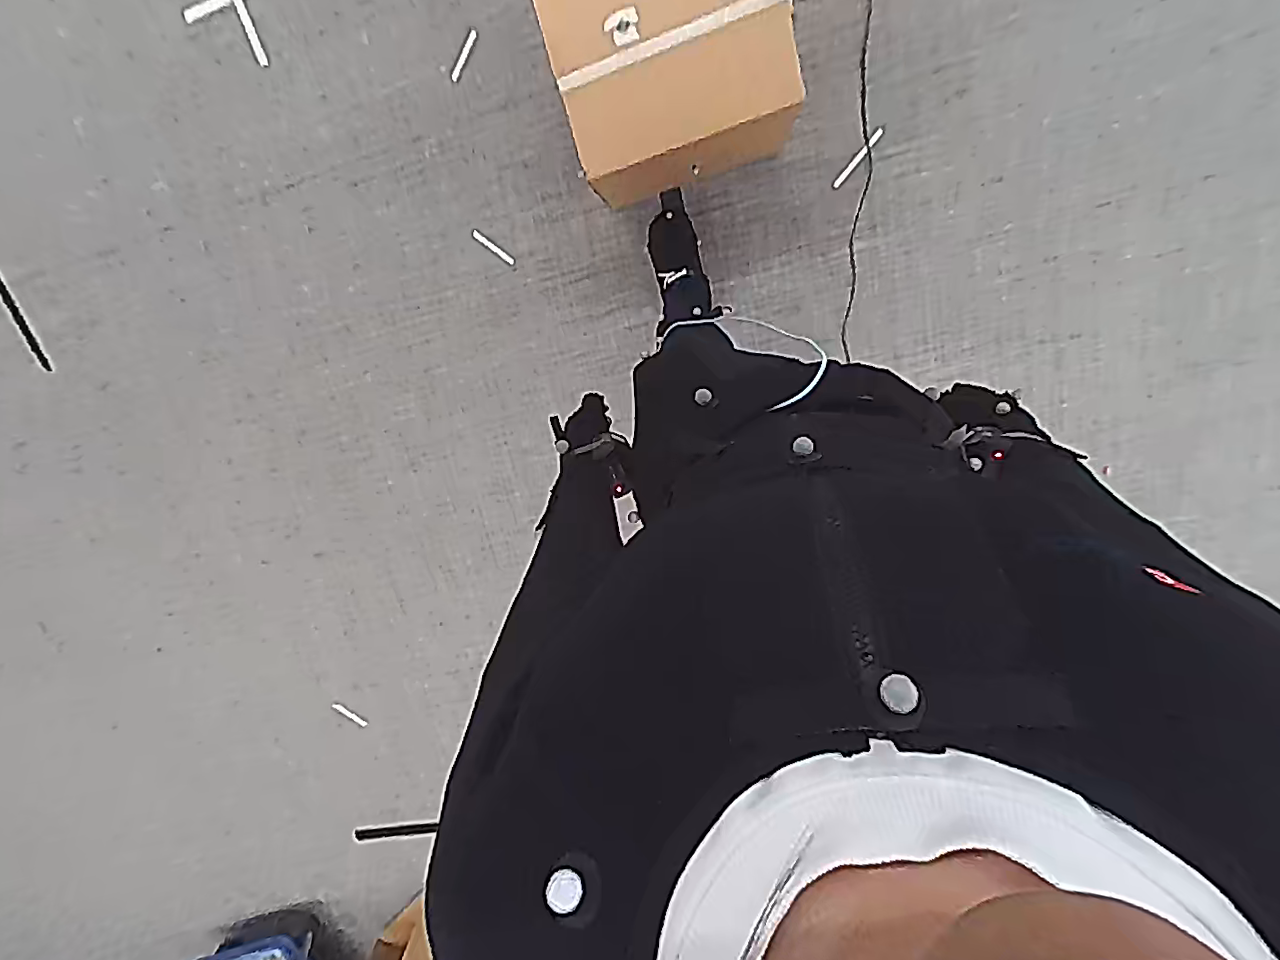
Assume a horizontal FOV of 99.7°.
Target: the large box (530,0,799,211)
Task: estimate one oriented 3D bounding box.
[{"bbox_3d":[0.060,-0.776,1.062,0.408,0.320,0.320,-14,104,12],"label":"large box"}]
